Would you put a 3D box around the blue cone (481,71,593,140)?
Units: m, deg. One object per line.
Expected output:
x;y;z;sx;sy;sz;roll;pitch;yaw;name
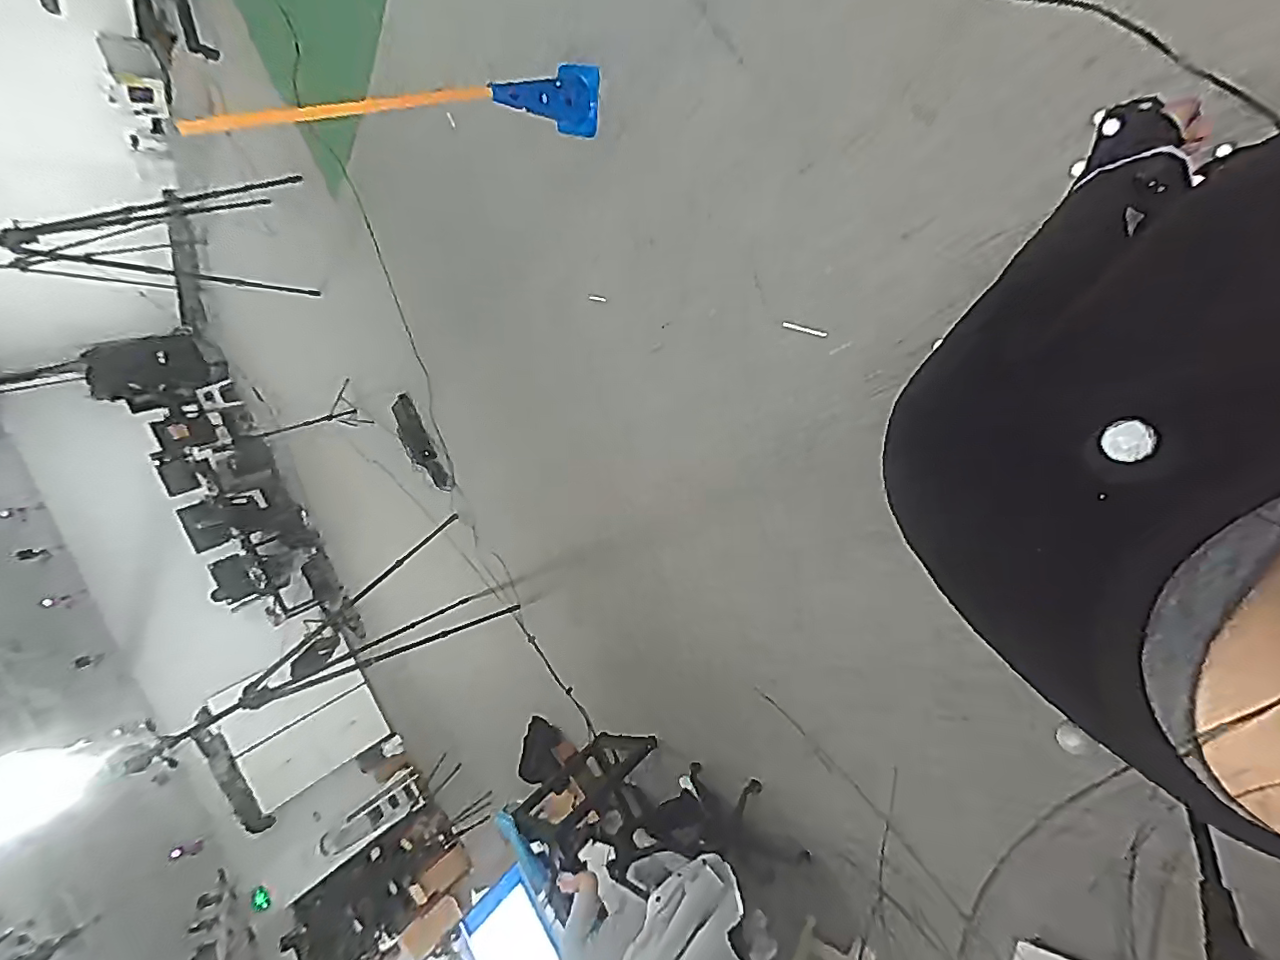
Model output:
-0.338;-1.215;1.745;0.192;0.380;0.193;30;132;31;blue cone
